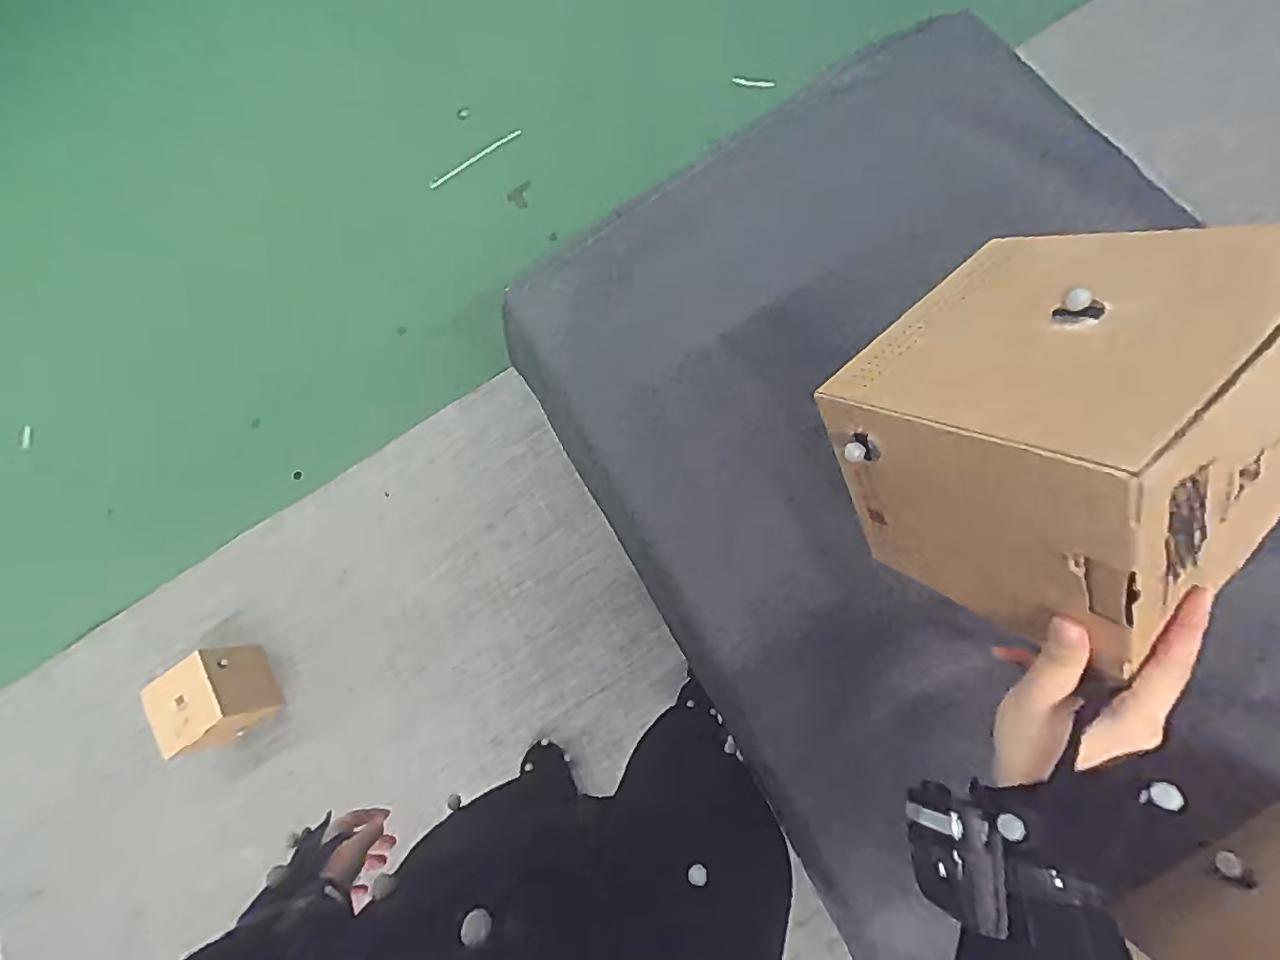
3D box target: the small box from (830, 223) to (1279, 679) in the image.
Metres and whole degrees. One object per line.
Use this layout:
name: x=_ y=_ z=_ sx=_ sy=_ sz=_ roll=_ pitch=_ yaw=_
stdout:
small box: x=0.240 y=-0.028 z=0.328 sx=0.179 sy=0.168 sz=0.176 roll=-41 pitch=34 yaw=-12

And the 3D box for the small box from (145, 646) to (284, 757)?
small box: x=-0.993 y=0.511 z=1.273 sx=0.168 sy=0.176 sz=0.179 roll=-37 pitch=73 yaw=0
